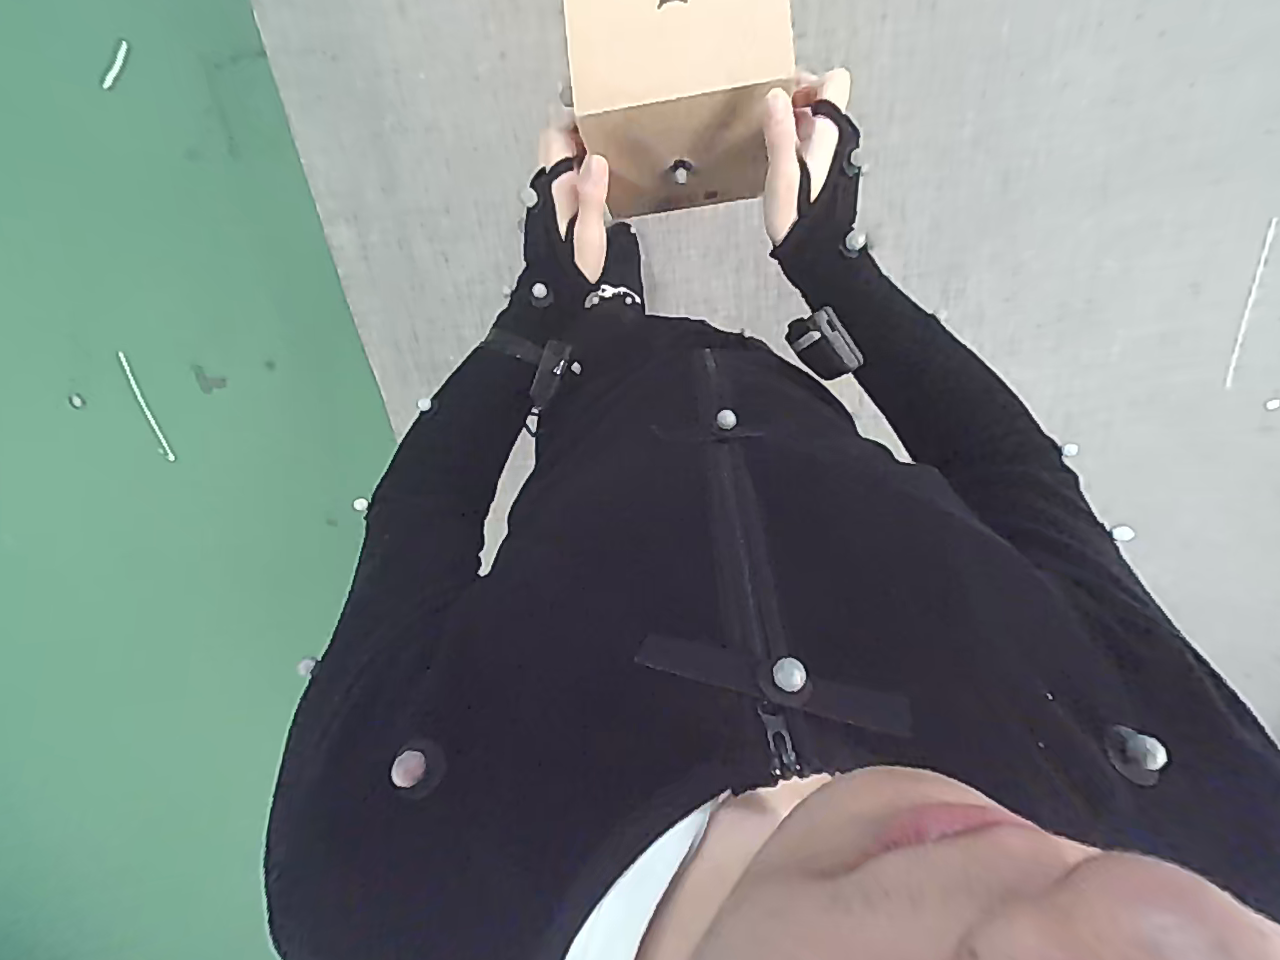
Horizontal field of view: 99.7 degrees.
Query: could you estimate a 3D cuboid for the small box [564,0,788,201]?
[{"bbox_3d":[0.033,-0.372,0.480,0.168,0.176,0.179,-4,89,6],"label":"small box"}]
